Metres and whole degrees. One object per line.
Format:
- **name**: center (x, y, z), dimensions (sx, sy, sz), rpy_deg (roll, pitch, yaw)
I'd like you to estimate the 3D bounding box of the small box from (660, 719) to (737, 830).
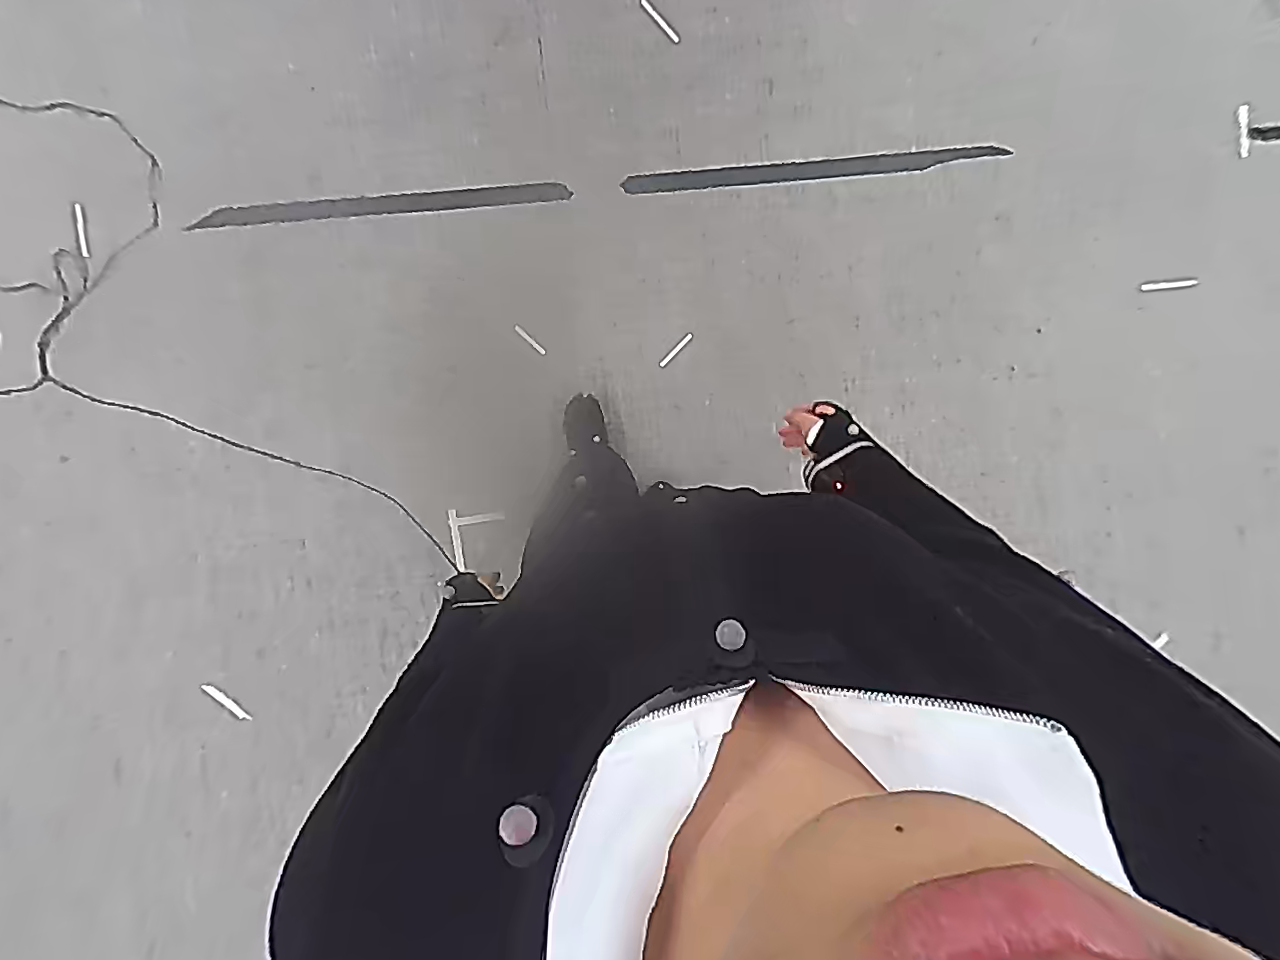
- **small box**: center (0.141, 0.728, 1.349), dimensions (0.168, 0.176, 0.179), rpy_deg (-7, 93, 0)
